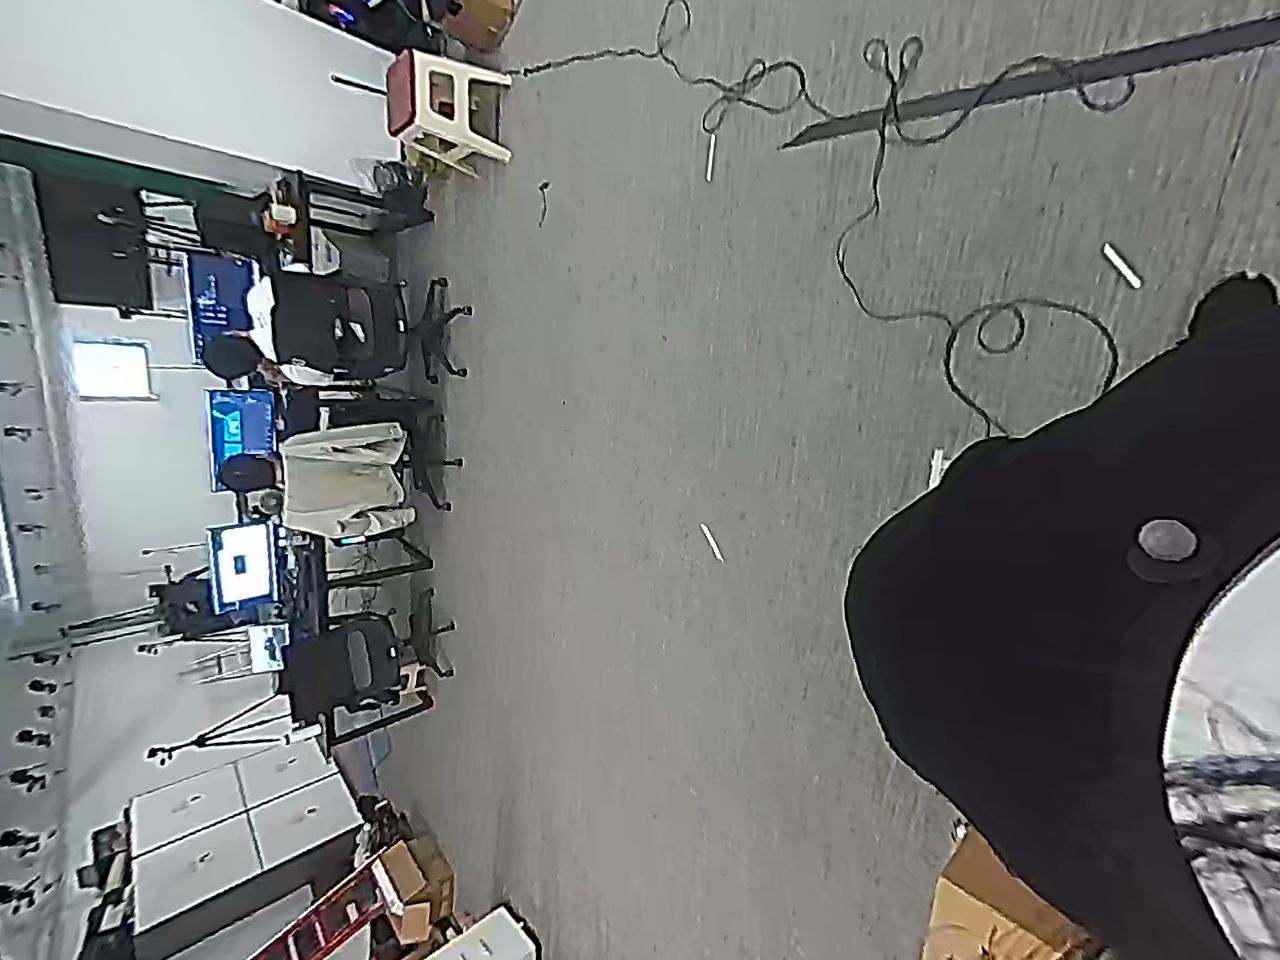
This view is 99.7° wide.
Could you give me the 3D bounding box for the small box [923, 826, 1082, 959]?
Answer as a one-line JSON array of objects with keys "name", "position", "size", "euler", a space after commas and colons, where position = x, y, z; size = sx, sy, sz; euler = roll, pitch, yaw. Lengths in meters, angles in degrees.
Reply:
[{"name": "small box", "position": [0.588, 0.719, 0.875], "size": [0.168, 0.176, 0.179], "euler": [15, 103, 45]}]
